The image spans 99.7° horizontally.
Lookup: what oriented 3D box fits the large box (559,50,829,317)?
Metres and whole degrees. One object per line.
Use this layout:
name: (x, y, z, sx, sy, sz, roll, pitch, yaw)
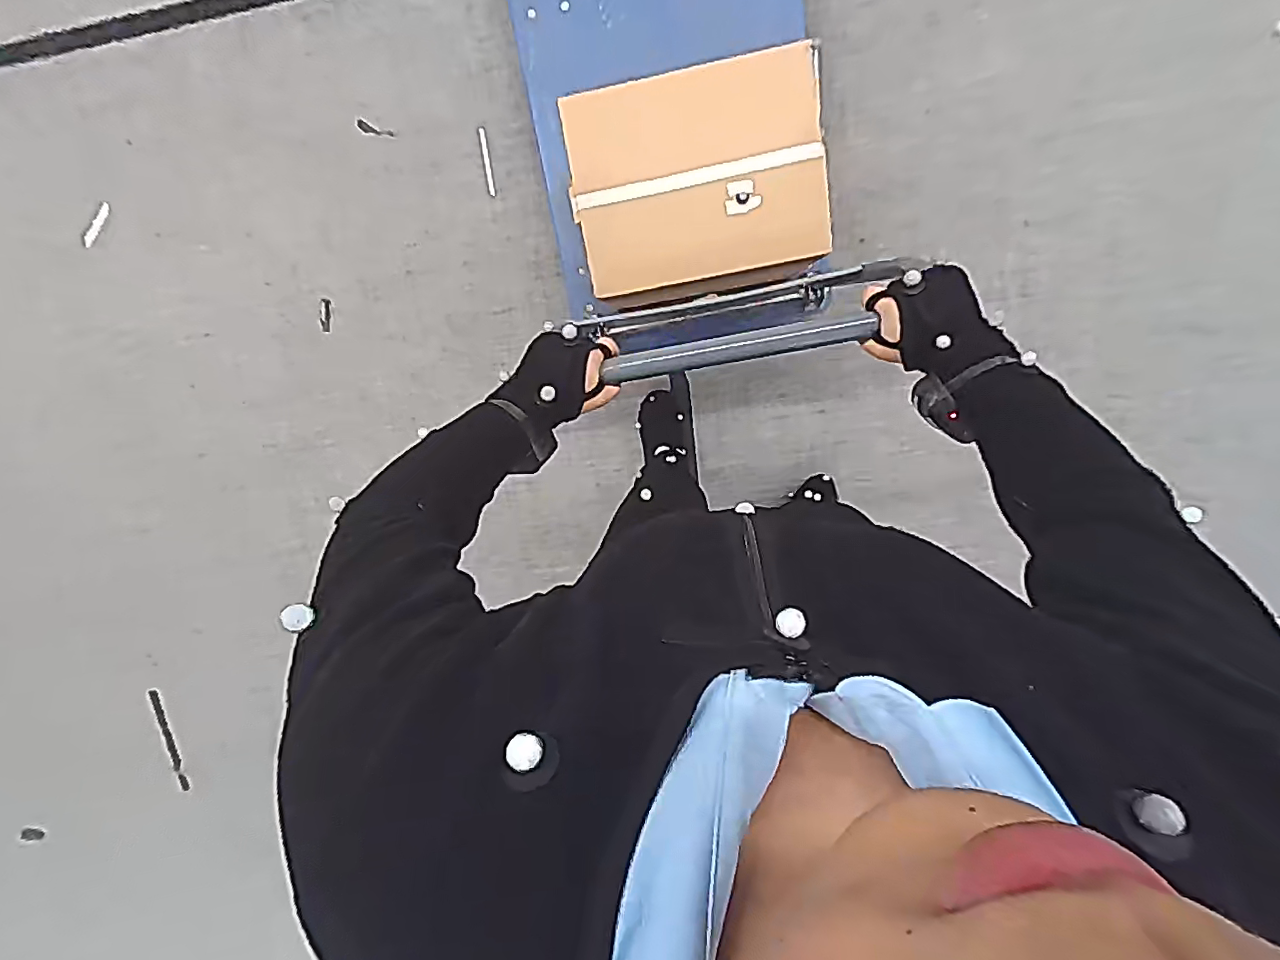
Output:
large box: (0.097, -0.513, 1.024, 0.408, 0.320, 0.320, -10, 104, 5)
